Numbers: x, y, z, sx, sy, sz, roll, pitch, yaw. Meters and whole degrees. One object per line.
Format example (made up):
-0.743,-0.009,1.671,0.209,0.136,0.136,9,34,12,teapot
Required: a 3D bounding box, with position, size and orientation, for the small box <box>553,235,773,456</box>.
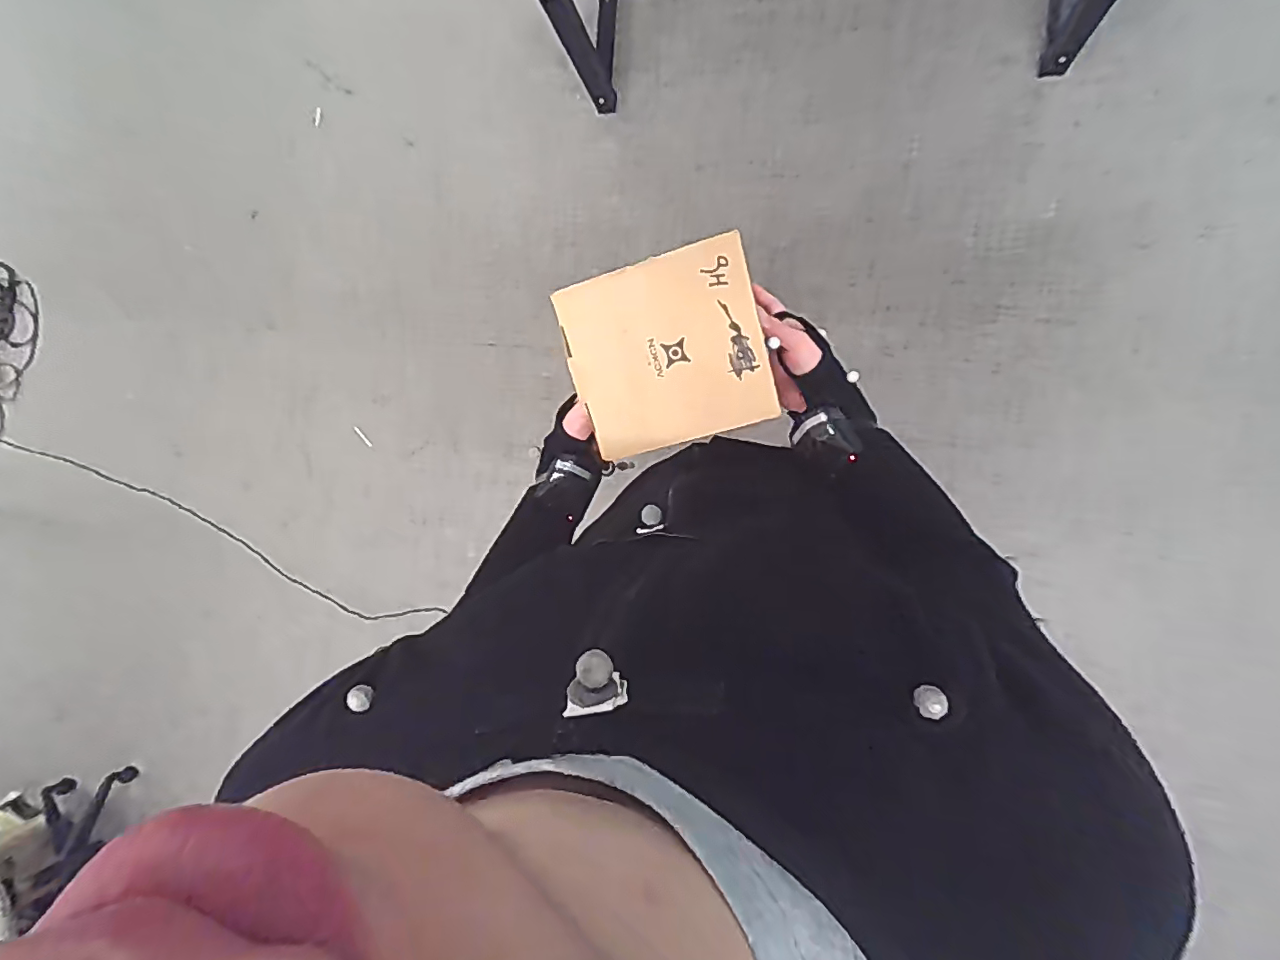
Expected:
0.034,-0.138,0.571,0.179,0.176,0.168,-13,105,12,small box
